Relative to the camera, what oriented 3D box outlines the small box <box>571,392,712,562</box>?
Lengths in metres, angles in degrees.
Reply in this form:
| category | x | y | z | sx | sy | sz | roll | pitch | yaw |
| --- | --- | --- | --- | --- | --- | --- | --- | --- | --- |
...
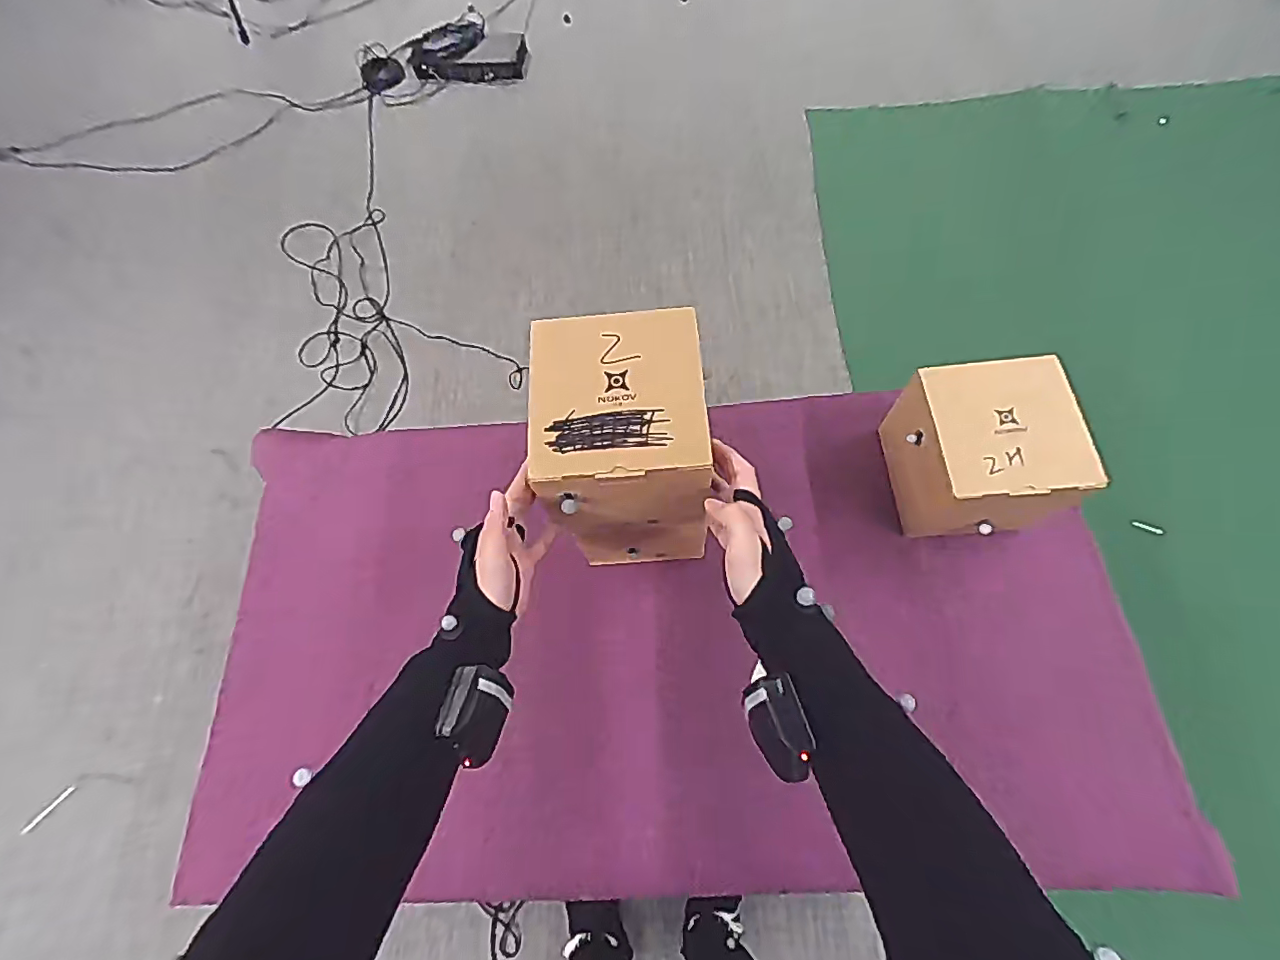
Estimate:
| category | x | y | z | sx | sy | sz | roll | pitch | yaw |
| --- | --- | --- | --- | --- | --- | --- | --- | --- | --- |
| small box | 0.001 | 0.003 | 0.724 | 0.168 | 0.176 | 0.179 | -4 | 69 | 2 |

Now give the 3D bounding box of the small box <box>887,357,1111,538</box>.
| category | x | y | z | sx | sy | sz | roll | pitch | yaw |
| --- | --- | --- | --- | --- | --- | --- | --- | --- | --- |
| small box | 0.441 | -0.035 | 0.703 | 0.168 | 0.176 | 0.179 | -5 | 68 | 5 |
